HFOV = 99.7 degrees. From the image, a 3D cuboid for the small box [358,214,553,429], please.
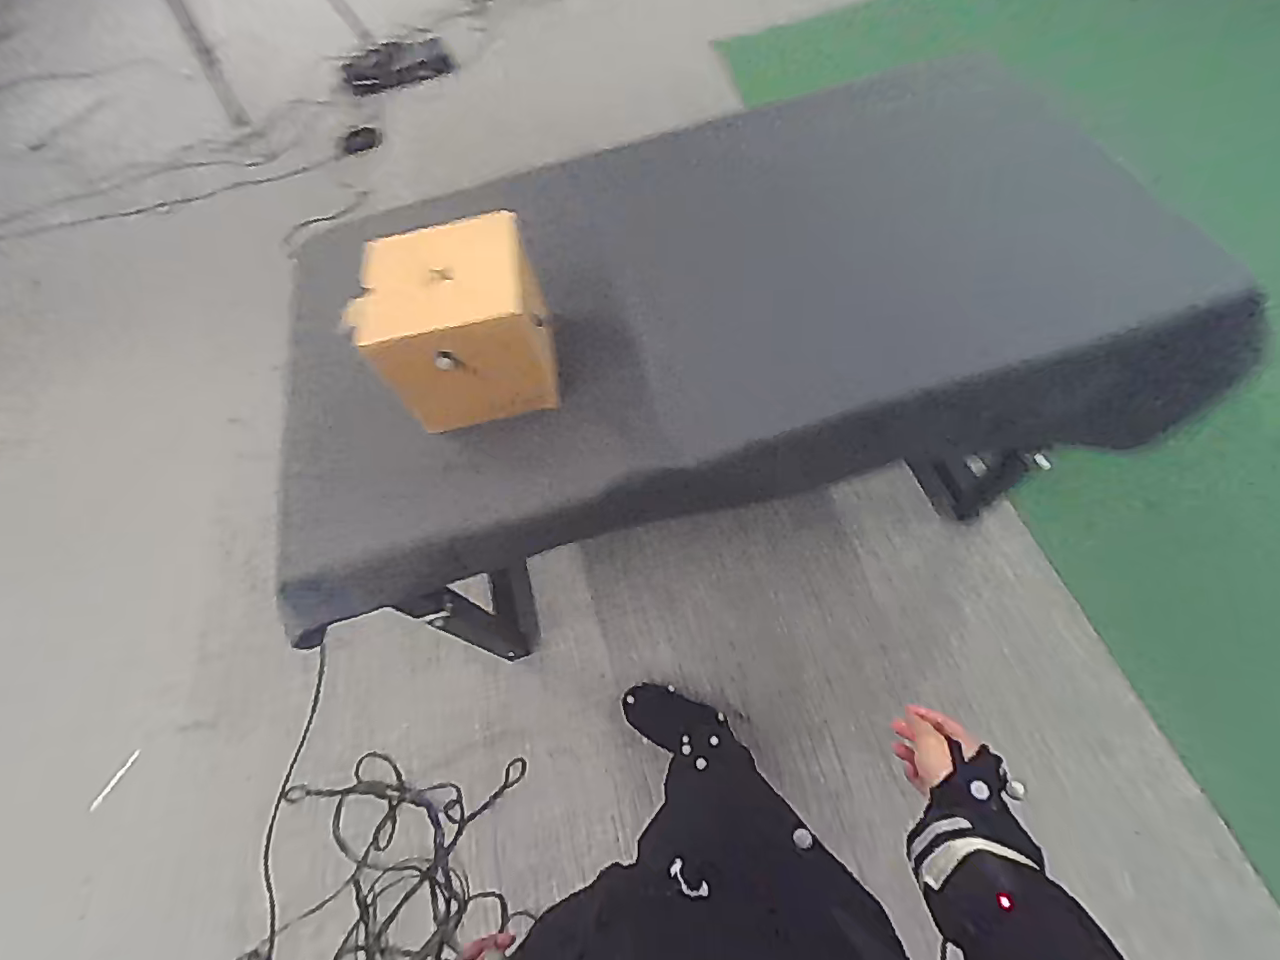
[{"bbox_3d":[-0.210,-0.184,0.660,0.179,0.176,0.168,-12,61,1],"label":"small box"}]
